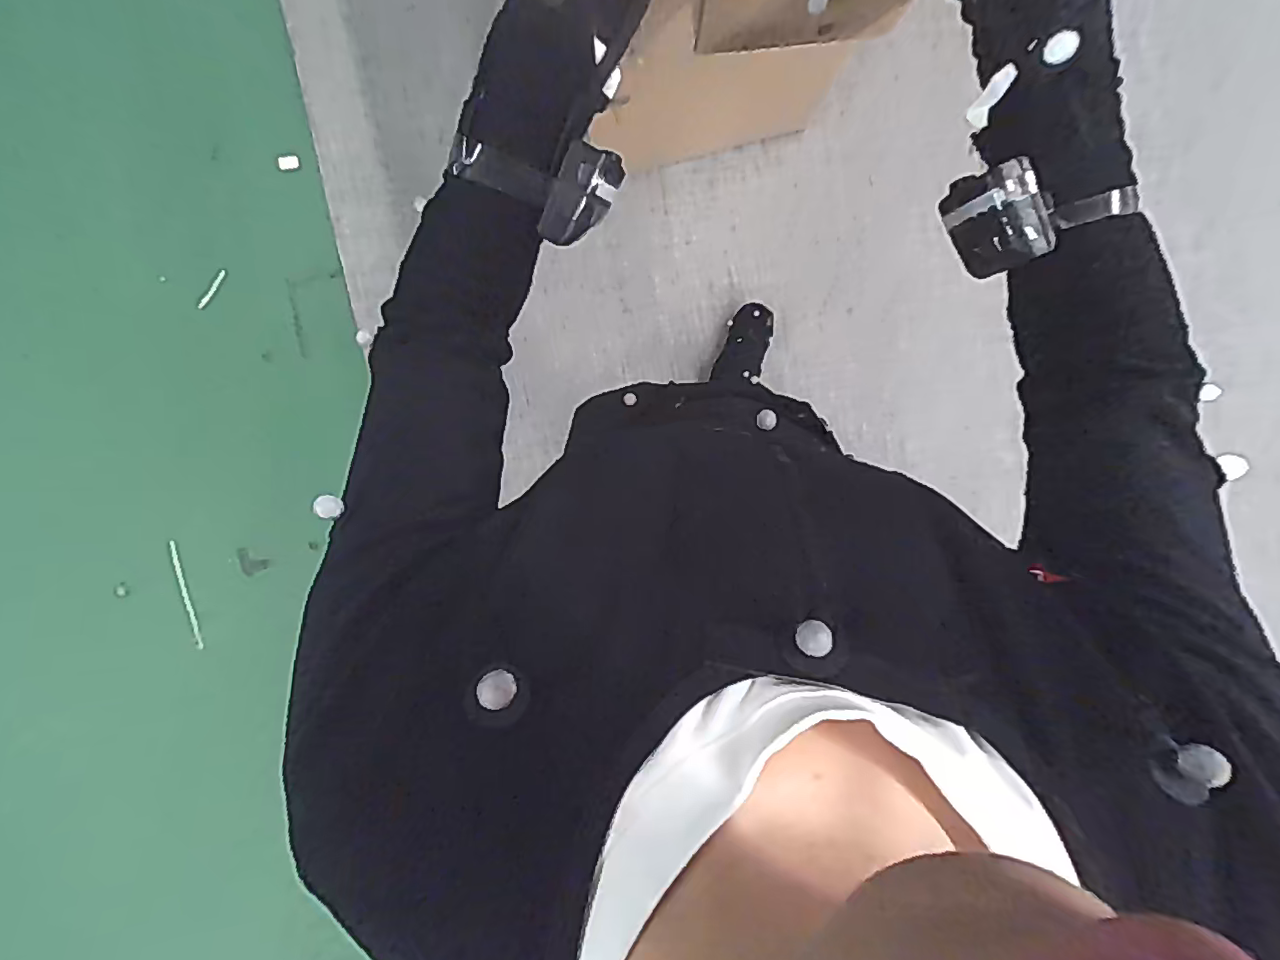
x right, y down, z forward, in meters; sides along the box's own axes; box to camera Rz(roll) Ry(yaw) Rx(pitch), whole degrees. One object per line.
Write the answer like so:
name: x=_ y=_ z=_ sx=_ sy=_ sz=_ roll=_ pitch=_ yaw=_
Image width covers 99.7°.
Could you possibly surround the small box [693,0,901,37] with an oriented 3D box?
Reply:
small box: x=0.120 y=-0.434 z=0.358 sx=0.168 sy=0.176 sz=0.179 roll=-4 pitch=103 yaw=2
